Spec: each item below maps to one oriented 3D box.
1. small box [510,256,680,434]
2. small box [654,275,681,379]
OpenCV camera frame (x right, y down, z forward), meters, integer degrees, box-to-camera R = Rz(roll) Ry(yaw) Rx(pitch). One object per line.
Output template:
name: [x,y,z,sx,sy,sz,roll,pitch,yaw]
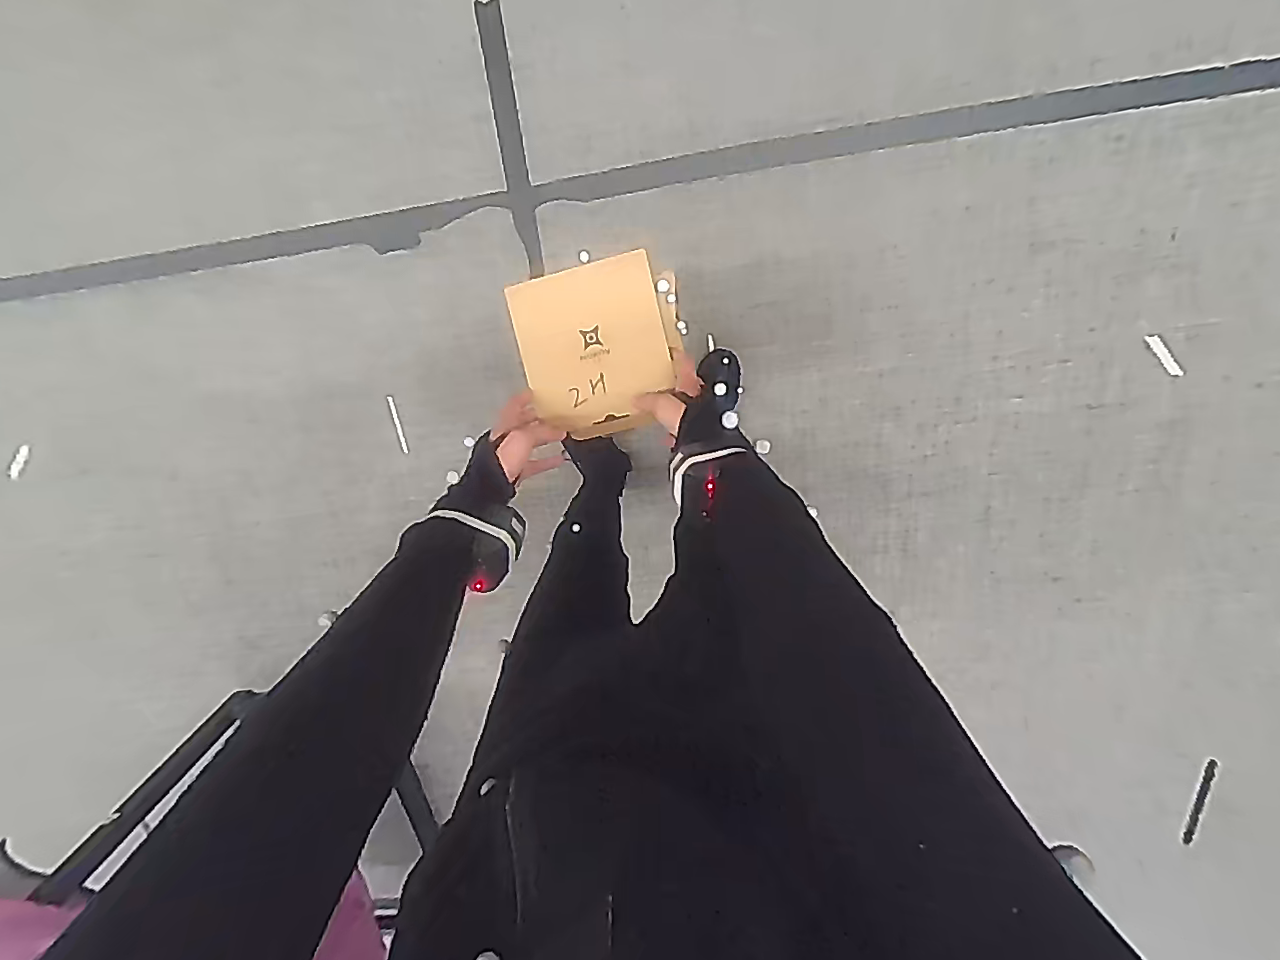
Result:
small box: [-0.048,-0.180,0.702,0.168,0.176,0.179,-12,112,8]
small box: [-0.011,-0.288,1.012,0.168,0.176,0.179,-3,113,4]
